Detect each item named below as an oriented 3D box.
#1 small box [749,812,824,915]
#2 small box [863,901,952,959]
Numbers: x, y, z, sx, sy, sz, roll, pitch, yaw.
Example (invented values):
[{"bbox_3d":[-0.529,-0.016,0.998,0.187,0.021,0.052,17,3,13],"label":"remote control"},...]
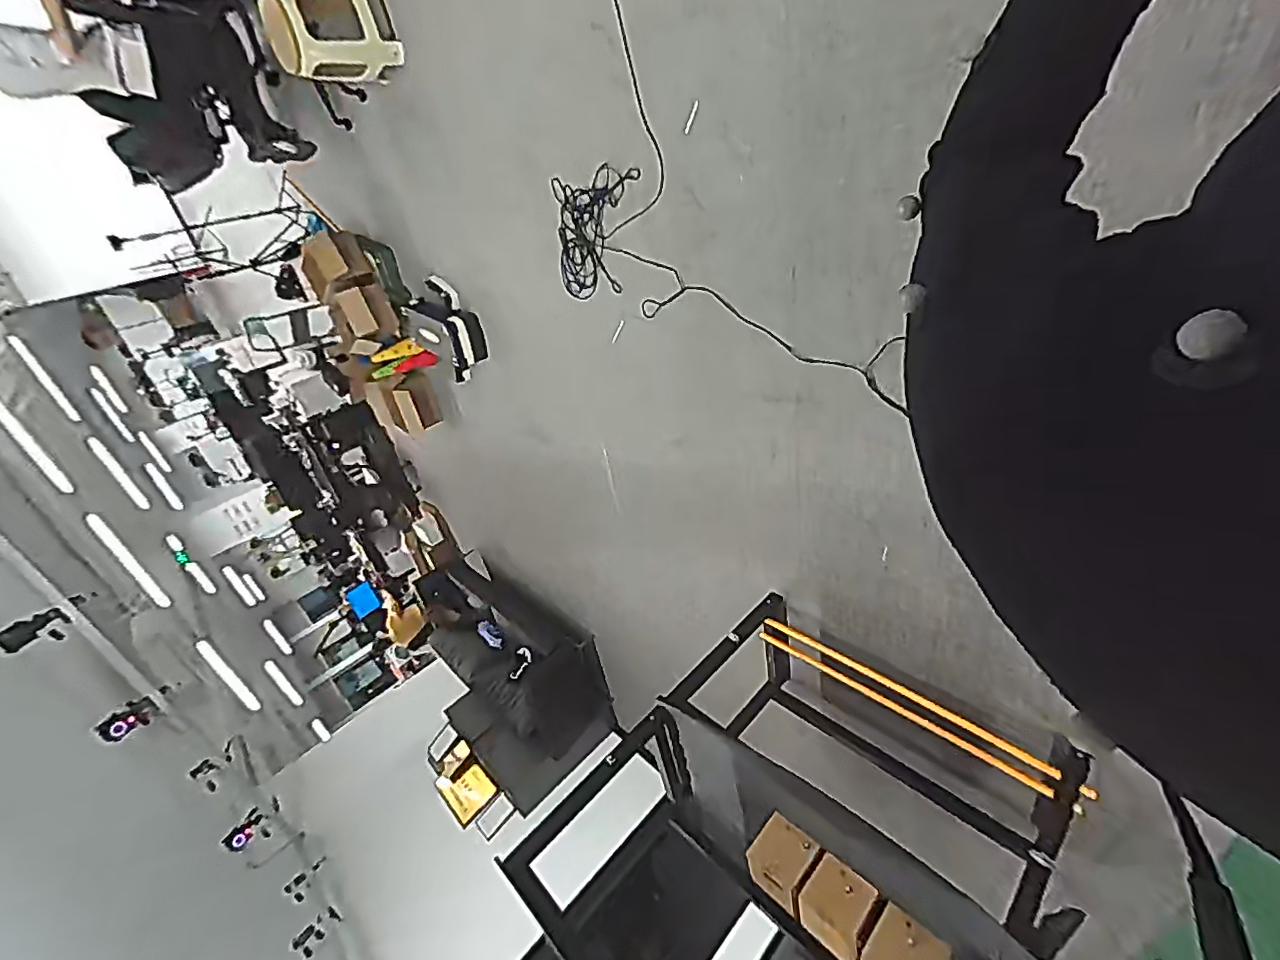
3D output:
[{"bbox_3d":[0.468,1.209,1.717,0.168,0.176,0.179,20,134,44],"label":"small box"},{"bbox_3d":[0.719,1.301,1.455,0.168,0.176,0.179,19,133,45],"label":"small box"}]
